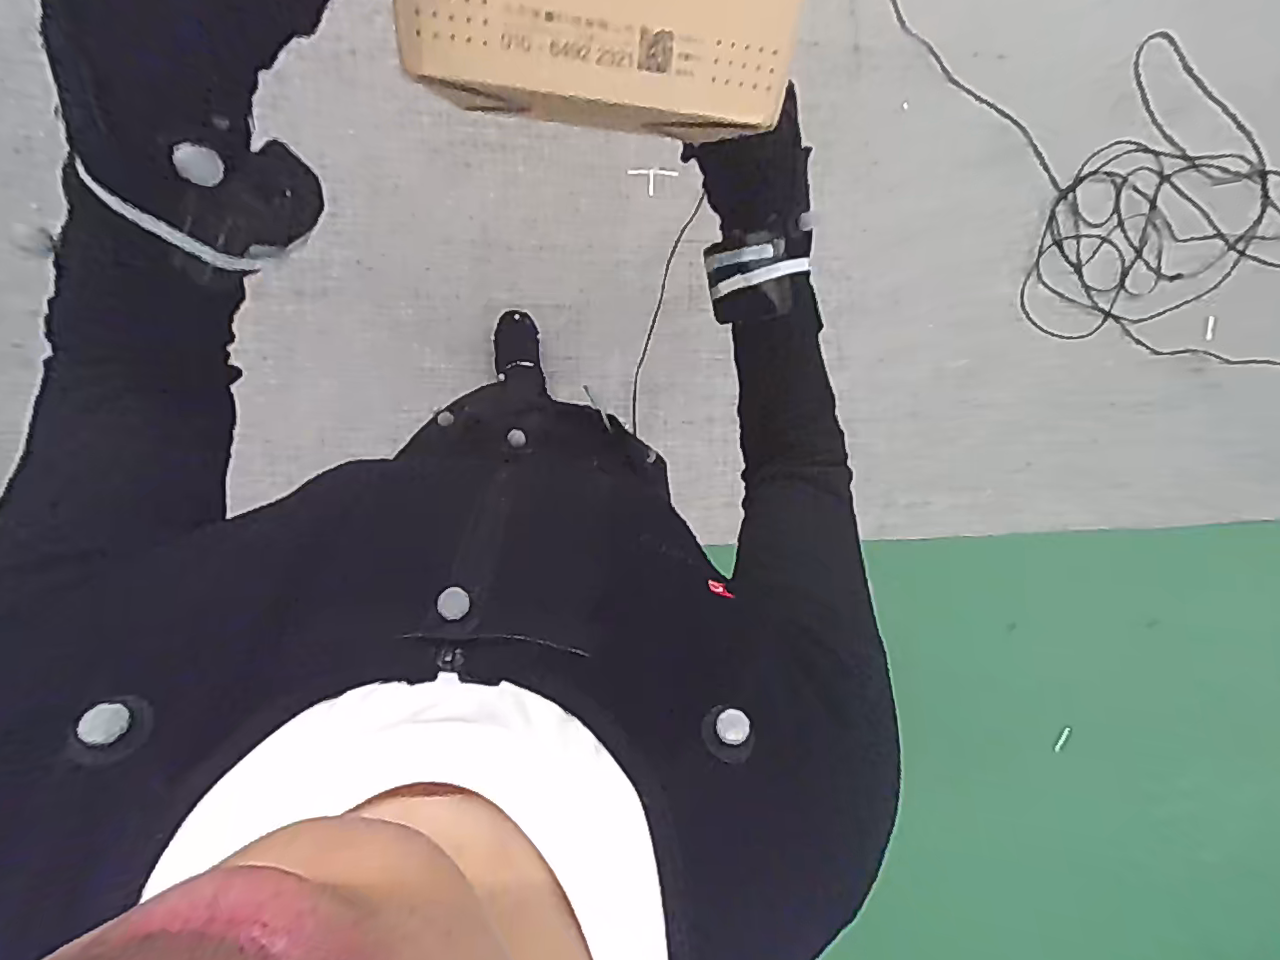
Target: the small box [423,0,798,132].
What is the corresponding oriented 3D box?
[{"bbox_3d":[-0.017,-0.286,0.274,0.168,0.179,0.176,2,120,-10],"label":"small box"}]
